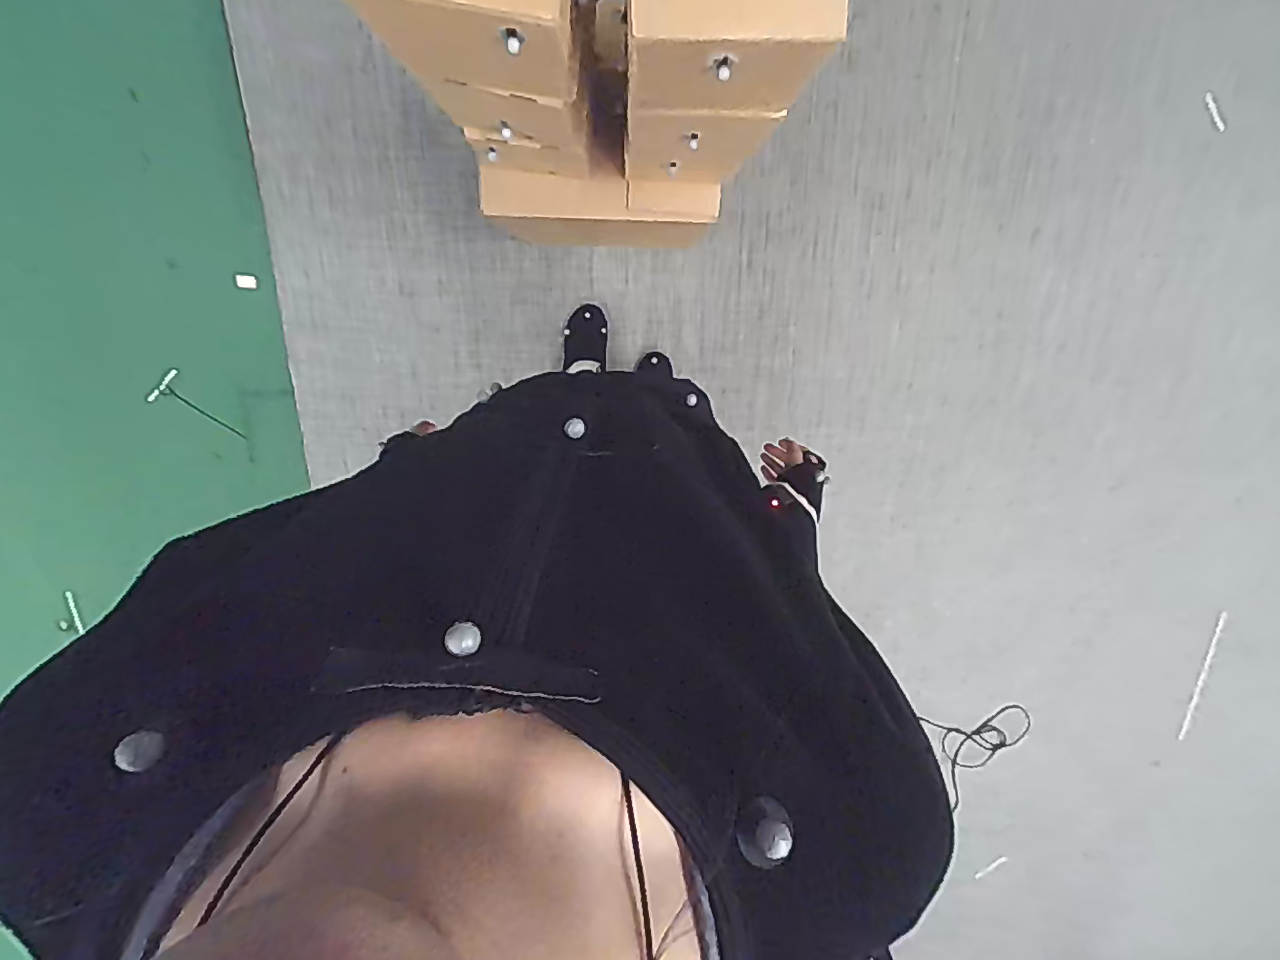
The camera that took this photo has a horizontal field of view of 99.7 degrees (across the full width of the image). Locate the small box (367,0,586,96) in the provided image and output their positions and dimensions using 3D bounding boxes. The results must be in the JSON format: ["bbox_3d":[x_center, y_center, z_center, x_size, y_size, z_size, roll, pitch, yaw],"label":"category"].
[{"bbox_3d":[-0.140,-0.473,0.478,0.179,0.176,0.168,6,107,-5],"label":"small box"}]

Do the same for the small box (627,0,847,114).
[{"bbox_3d":[0.077,-0.452,0.488,0.179,0.176,0.168,0,108,-1],"label":"small box"}]
